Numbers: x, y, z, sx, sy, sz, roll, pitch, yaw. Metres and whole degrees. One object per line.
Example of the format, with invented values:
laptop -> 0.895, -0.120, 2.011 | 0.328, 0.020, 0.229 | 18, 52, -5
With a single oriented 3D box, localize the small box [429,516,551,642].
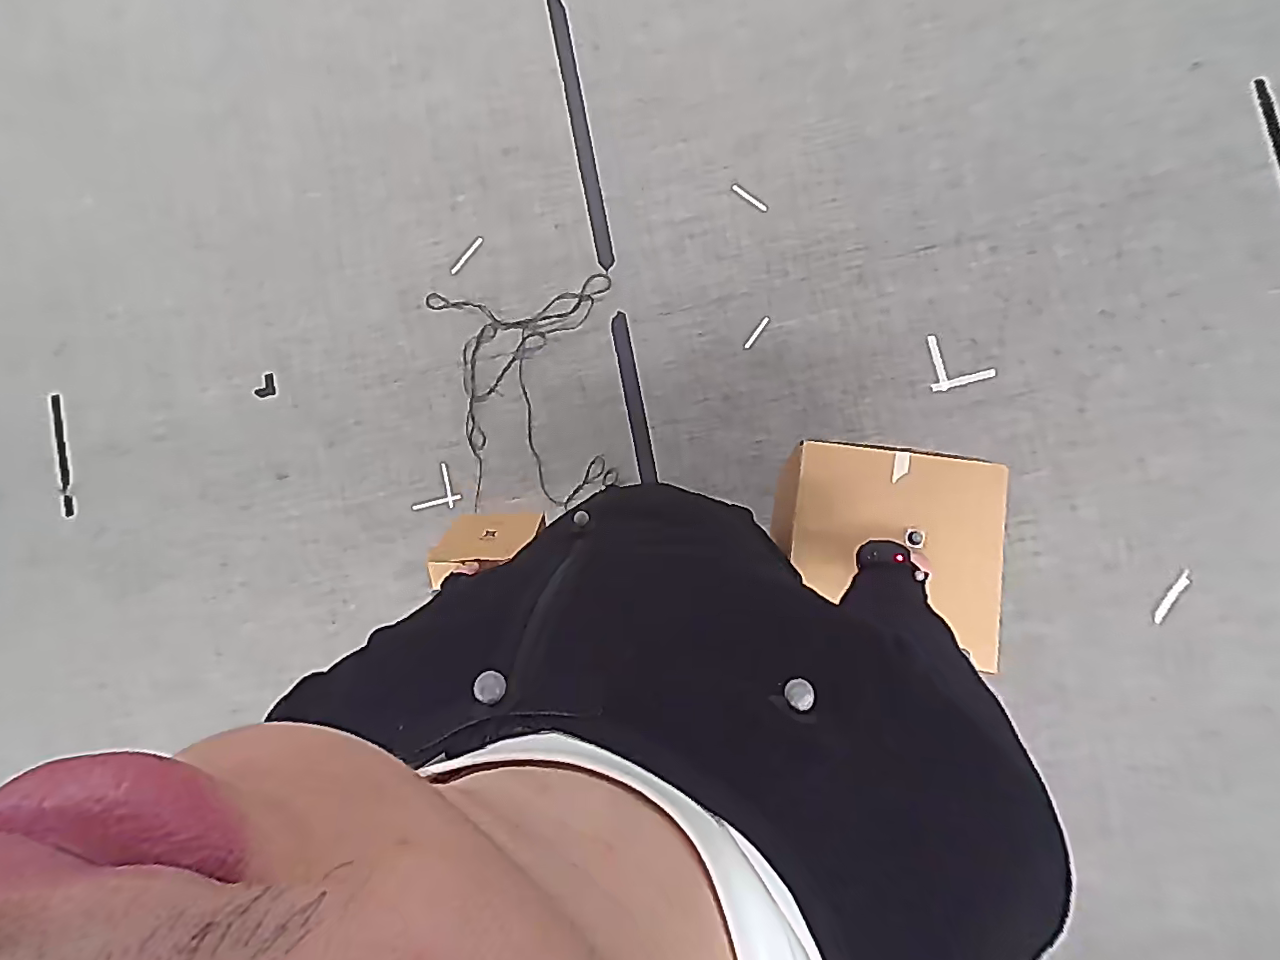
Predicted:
small box -> -0.263, 0.182, 0.995 | 0.168, 0.179, 0.176 | -2, 112, 1
